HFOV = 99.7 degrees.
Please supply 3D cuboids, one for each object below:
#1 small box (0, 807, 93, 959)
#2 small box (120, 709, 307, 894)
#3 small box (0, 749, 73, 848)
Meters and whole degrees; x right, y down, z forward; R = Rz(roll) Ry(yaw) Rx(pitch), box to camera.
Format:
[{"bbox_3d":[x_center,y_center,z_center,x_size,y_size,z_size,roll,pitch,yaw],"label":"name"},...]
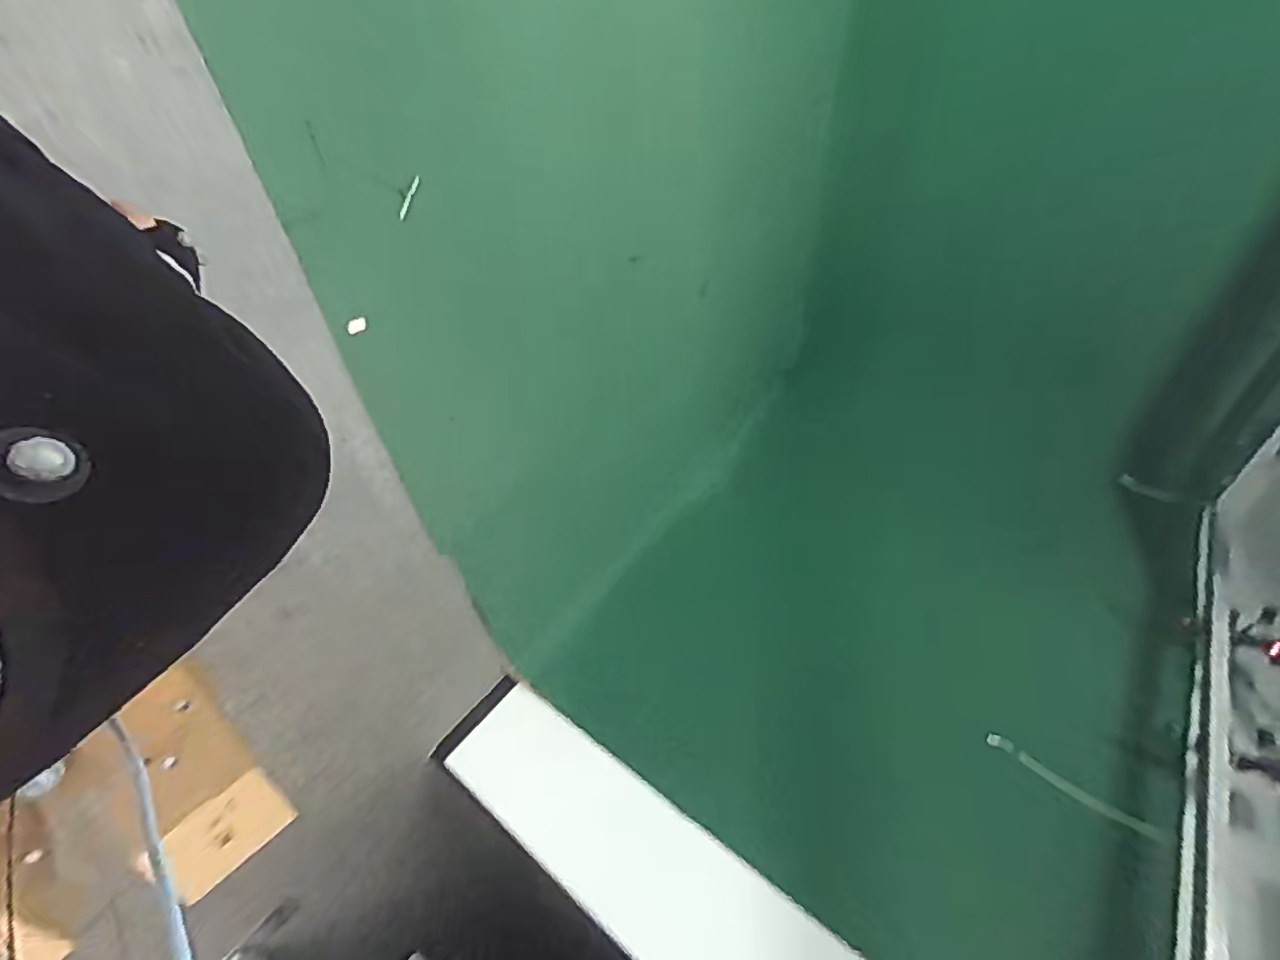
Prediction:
[{"bbox_3d":[-0.863,0.568,0.682,0.179,0.176,0.168,-38,139,-37],"label":"small box"},{"bbox_3d":[-0.701,0.523,0.898,0.168,0.176,0.179,-38,139,-39],"label":"small box"},{"bbox_3d":[-0.987,0.507,0.769,0.179,0.176,0.168,-39,138,-37],"label":"small box"}]
